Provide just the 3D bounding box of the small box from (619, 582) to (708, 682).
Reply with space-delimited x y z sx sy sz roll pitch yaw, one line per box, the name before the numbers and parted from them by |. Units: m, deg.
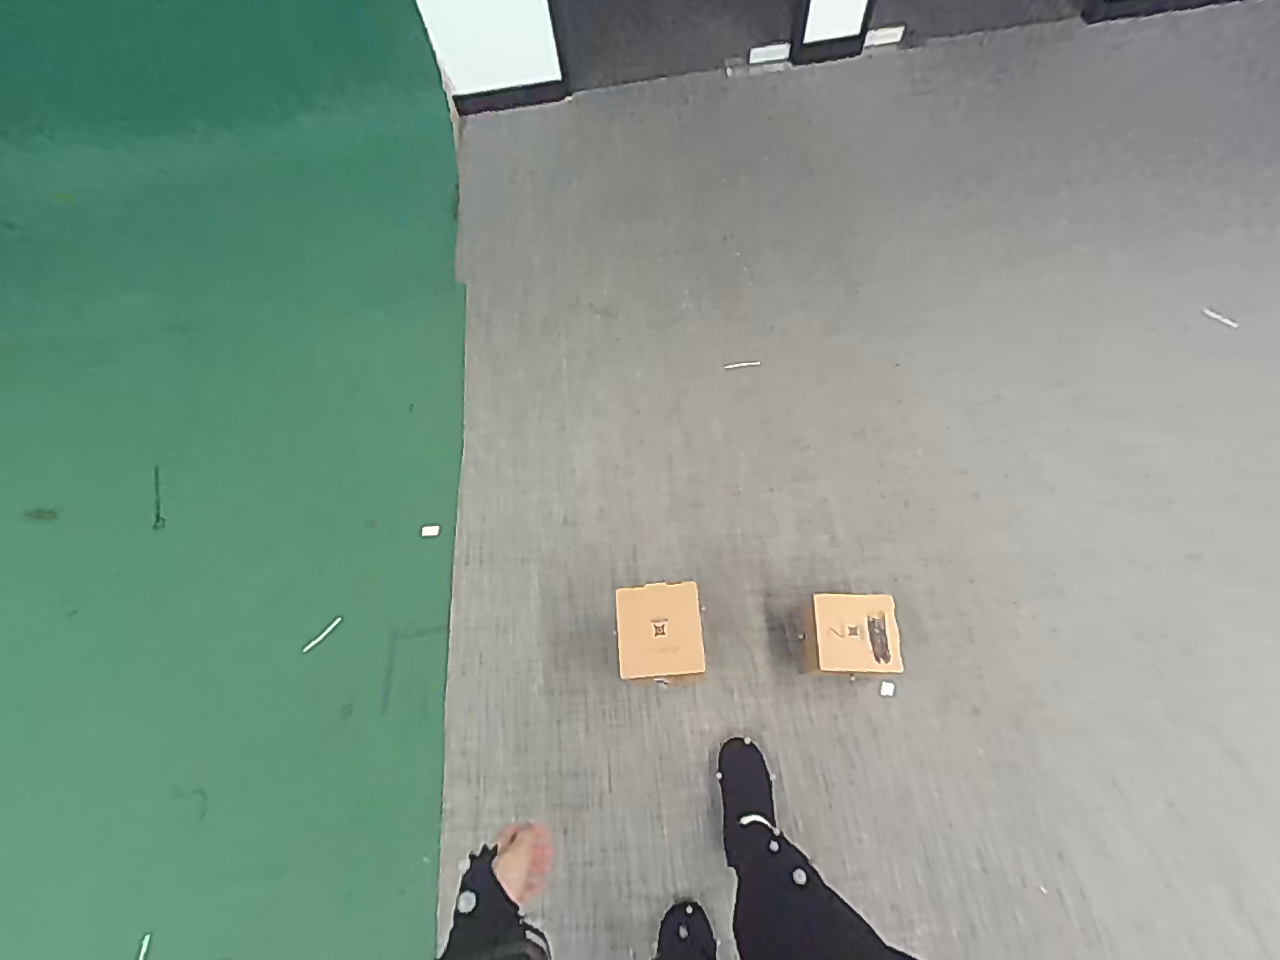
small box | 0.048 0.322 1.129 0.168 0.176 0.179 -6 68 4
